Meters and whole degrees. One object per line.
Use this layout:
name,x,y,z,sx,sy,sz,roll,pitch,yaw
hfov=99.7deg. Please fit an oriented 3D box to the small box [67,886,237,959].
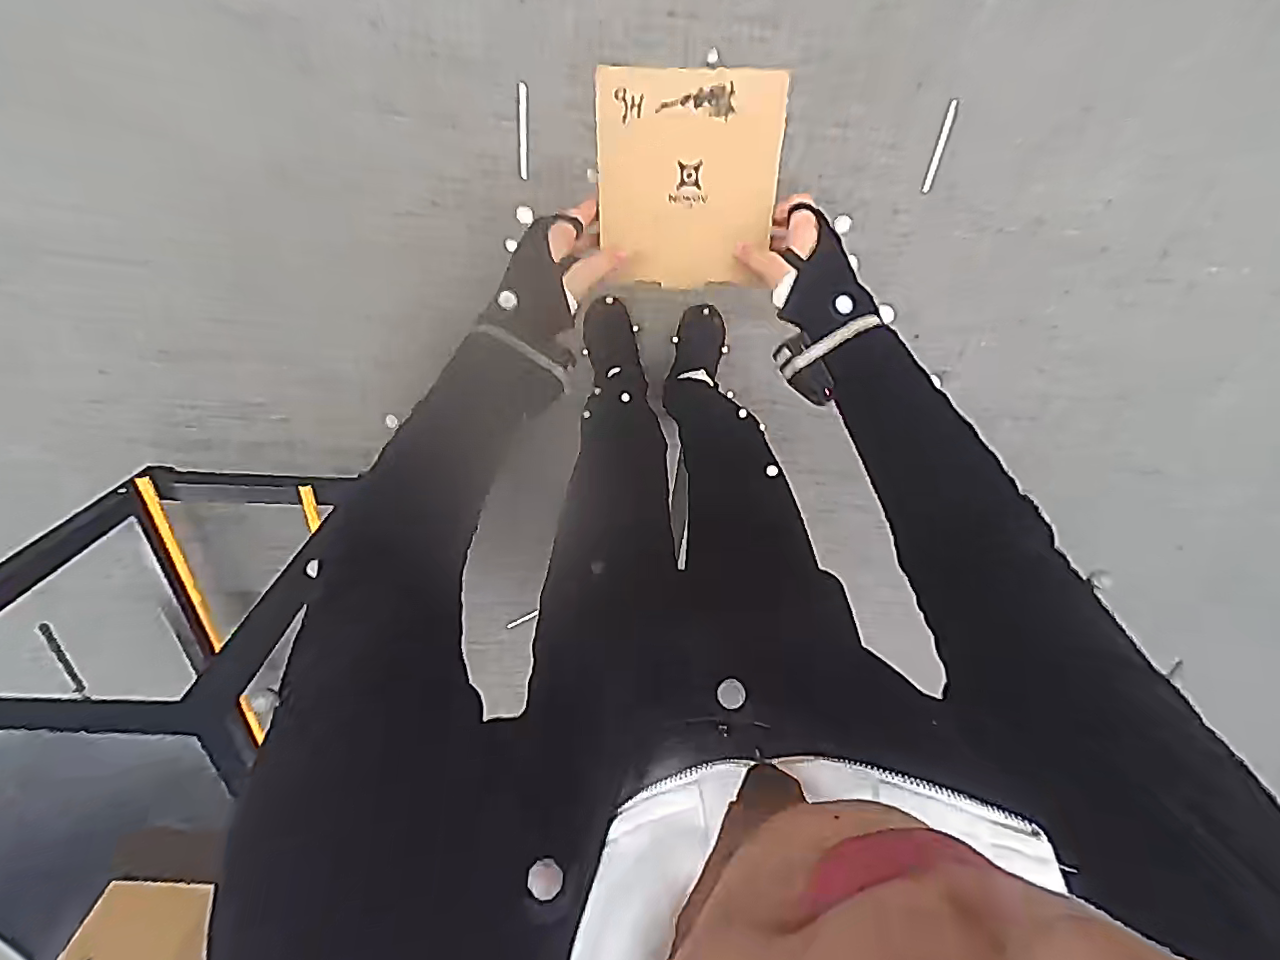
small box,-0.861,0.841,0.945,0.179,0.176,0.168,6,121,-6
